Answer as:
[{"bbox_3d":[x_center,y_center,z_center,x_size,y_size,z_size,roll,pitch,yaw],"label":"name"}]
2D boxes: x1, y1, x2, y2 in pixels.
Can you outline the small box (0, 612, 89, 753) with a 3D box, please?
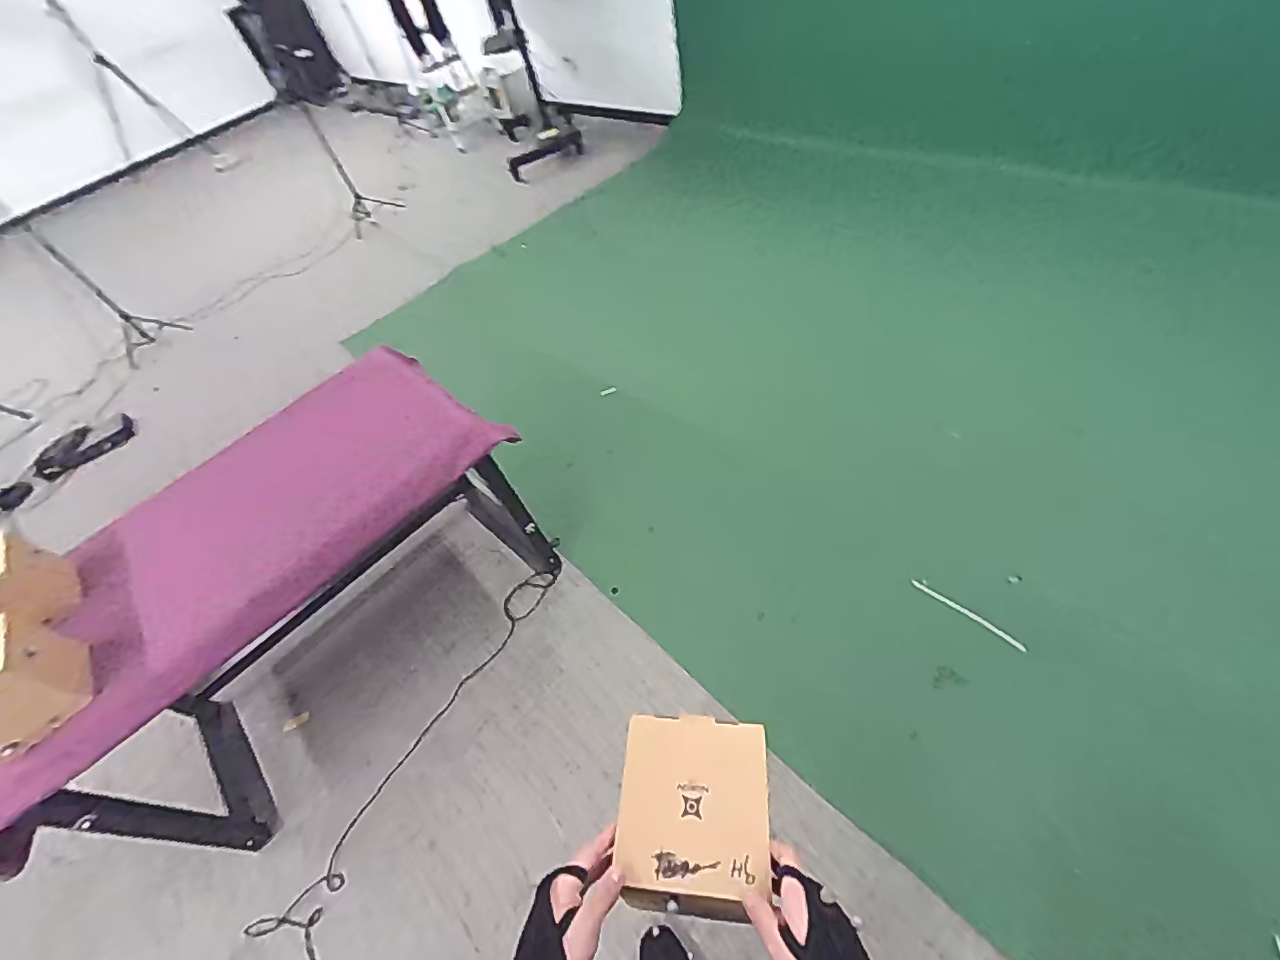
[{"bbox_3d":[-1.214,0.393,1.031,0.168,0.176,0.179,-41,53,-20],"label":"small box"}]
